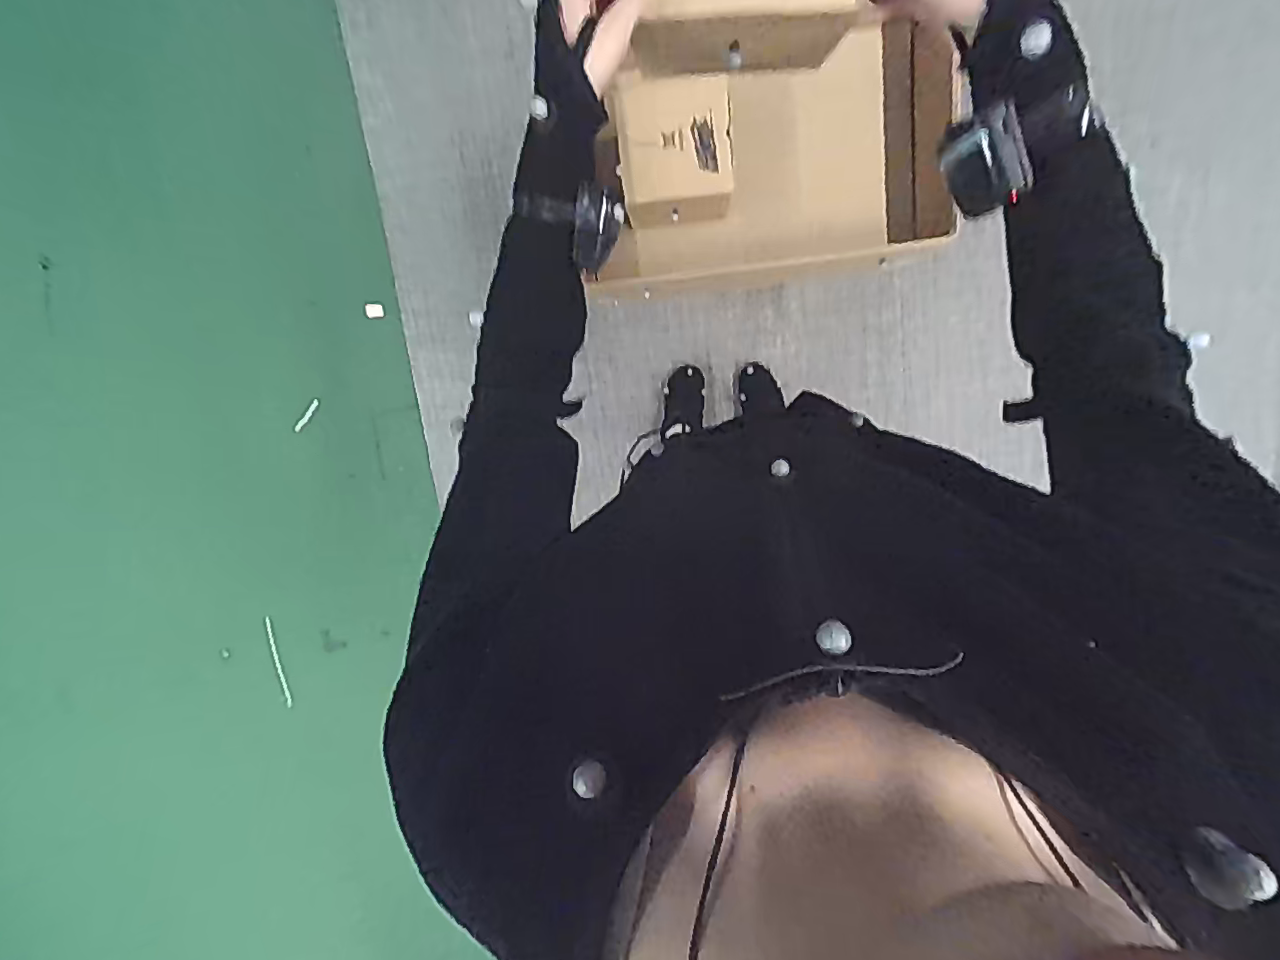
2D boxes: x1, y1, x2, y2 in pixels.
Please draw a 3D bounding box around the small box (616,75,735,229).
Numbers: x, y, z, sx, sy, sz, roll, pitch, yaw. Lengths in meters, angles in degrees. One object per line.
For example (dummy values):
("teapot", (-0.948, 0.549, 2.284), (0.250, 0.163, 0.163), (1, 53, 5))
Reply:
("small box", (0.060, -0.534, 0.903), (0.179, 0.176, 0.168), (-4, 101, 6))
